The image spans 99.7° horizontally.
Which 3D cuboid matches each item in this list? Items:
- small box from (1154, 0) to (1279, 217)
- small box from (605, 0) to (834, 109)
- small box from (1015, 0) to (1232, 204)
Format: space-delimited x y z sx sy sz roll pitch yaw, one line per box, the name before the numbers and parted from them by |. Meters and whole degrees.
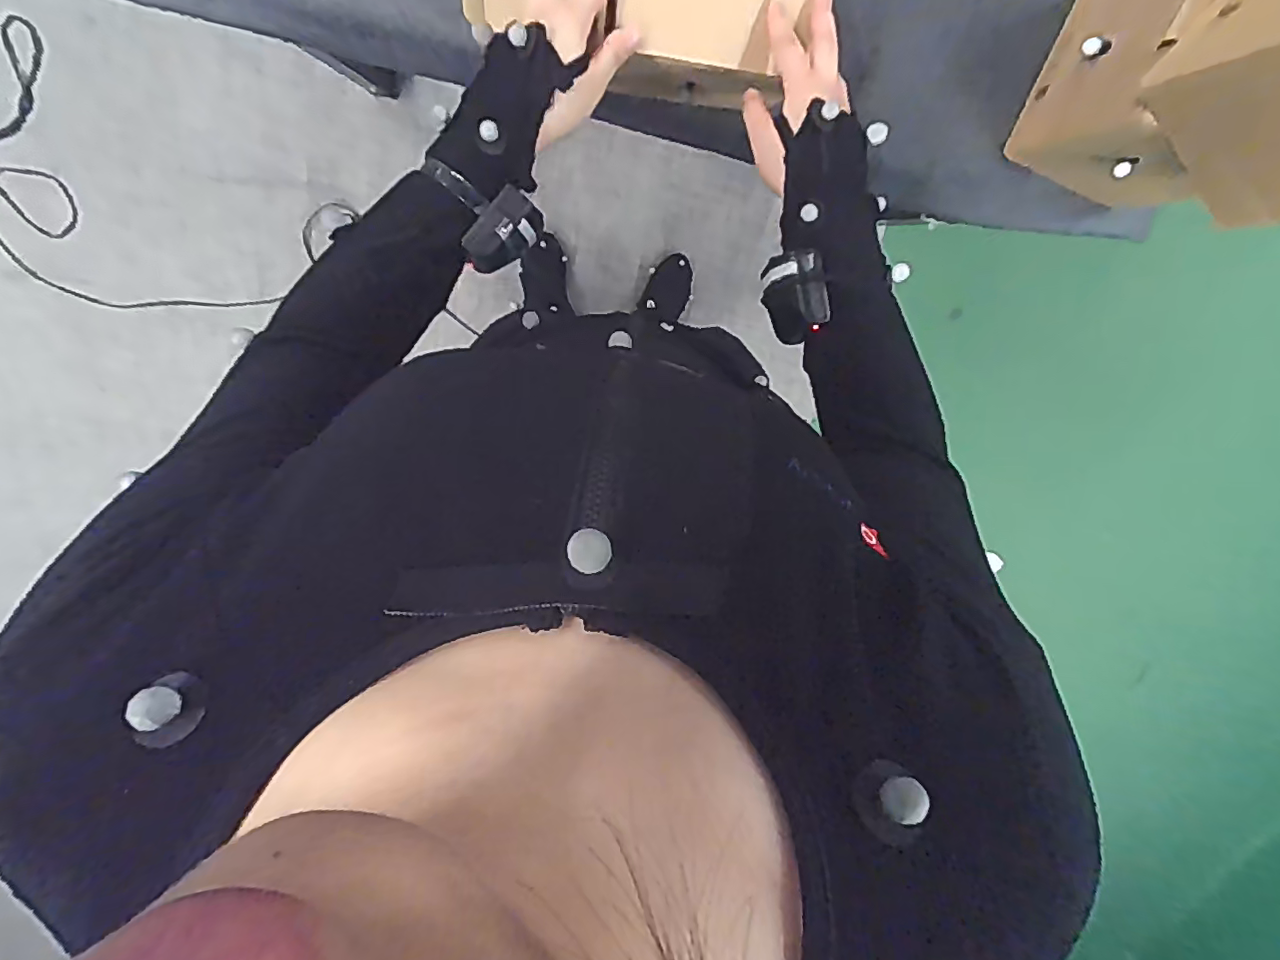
small box | 0.551 -0.318 0.396 0.179 0.176 0.168 36 103 -19
small box | 0.064 -0.441 0.474 0.179 0.176 0.168 4 117 -6
small box | 0.535 -0.394 0.541 0.179 0.176 0.168 15 109 -11
